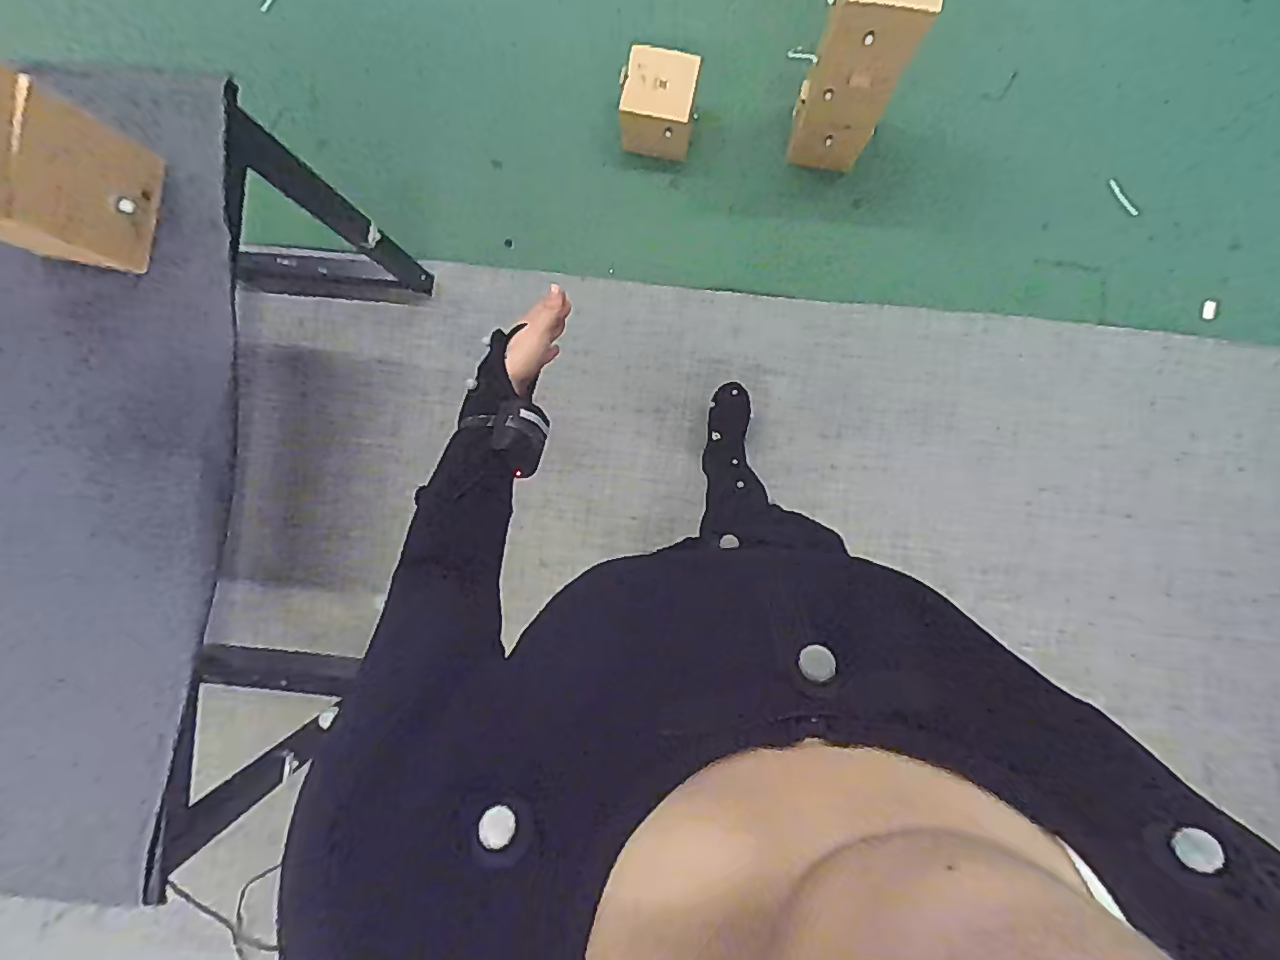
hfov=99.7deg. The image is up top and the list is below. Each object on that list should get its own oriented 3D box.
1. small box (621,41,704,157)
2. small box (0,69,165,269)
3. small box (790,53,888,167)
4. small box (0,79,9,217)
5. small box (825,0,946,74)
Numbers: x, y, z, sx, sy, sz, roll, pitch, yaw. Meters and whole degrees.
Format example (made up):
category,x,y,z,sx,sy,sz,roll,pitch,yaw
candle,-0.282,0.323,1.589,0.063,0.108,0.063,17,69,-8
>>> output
category,x,y,z,sx,sy,sz,roll,pitch,yaw
small box,0.057,-0.965,1.385,0.179,0.176,0.168,12,90,2
small box,-0.773,-0.388,0.688,0.179,0.176,0.168,12,92,4
small box,0.497,-0.926,1.370,0.179,0.176,0.168,10,91,2
small box,-0.786,-0.377,0.526,0.168,0.176,0.179,4,92,6
small box,0.473,-0.928,1.043,0.179,0.176,0.168,9,90,3
